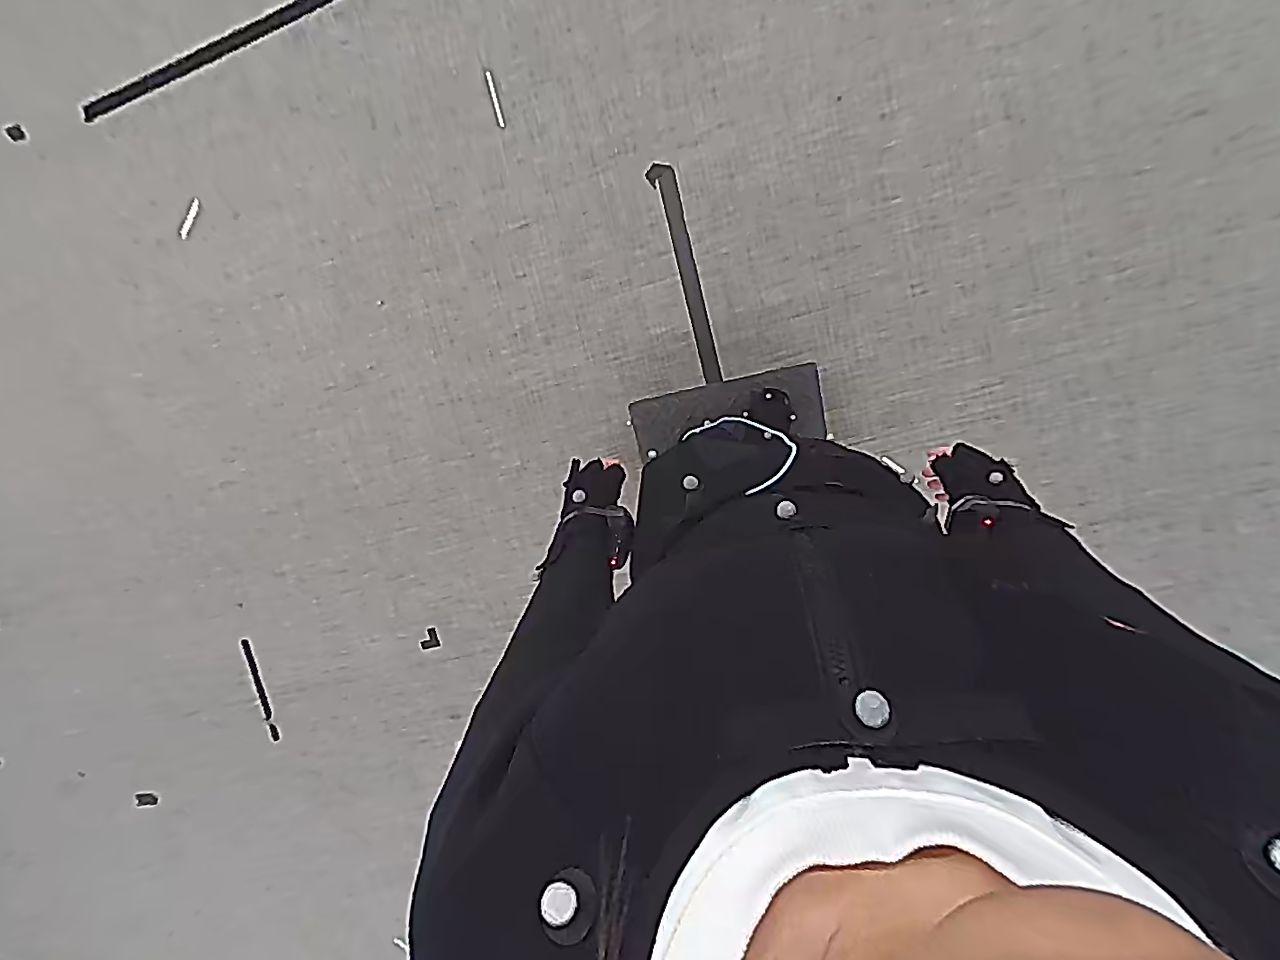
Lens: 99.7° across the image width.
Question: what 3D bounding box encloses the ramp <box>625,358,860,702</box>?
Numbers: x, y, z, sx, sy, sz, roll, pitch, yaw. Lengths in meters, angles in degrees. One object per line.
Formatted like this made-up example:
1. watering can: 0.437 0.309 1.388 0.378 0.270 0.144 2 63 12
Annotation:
1. ramp: 0.315 0.198 1.530 0.509 0.206 0.991 -13 97 10
